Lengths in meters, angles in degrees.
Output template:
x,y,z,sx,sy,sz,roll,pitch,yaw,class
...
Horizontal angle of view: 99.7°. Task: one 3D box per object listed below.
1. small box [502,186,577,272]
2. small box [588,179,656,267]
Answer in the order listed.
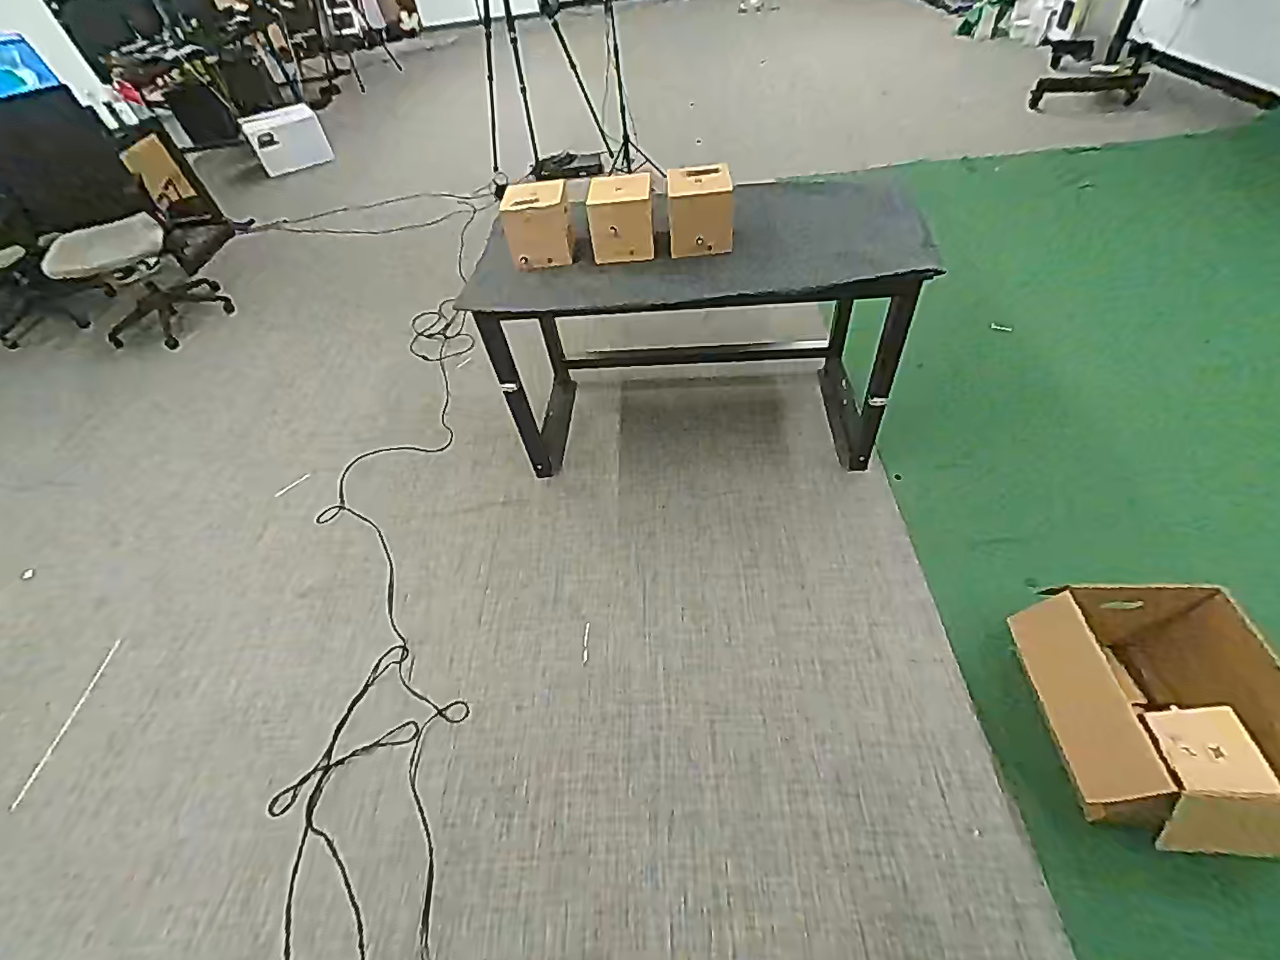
x,y,z,sx,sy,sz,roll,pitch,yaw,class
-0.277,-0.707,1.539,0.168,0.176,0.179,-5,48,4,small box
-0.043,-0.712,1.512,0.168,0.176,0.179,-3,48,6,small box
